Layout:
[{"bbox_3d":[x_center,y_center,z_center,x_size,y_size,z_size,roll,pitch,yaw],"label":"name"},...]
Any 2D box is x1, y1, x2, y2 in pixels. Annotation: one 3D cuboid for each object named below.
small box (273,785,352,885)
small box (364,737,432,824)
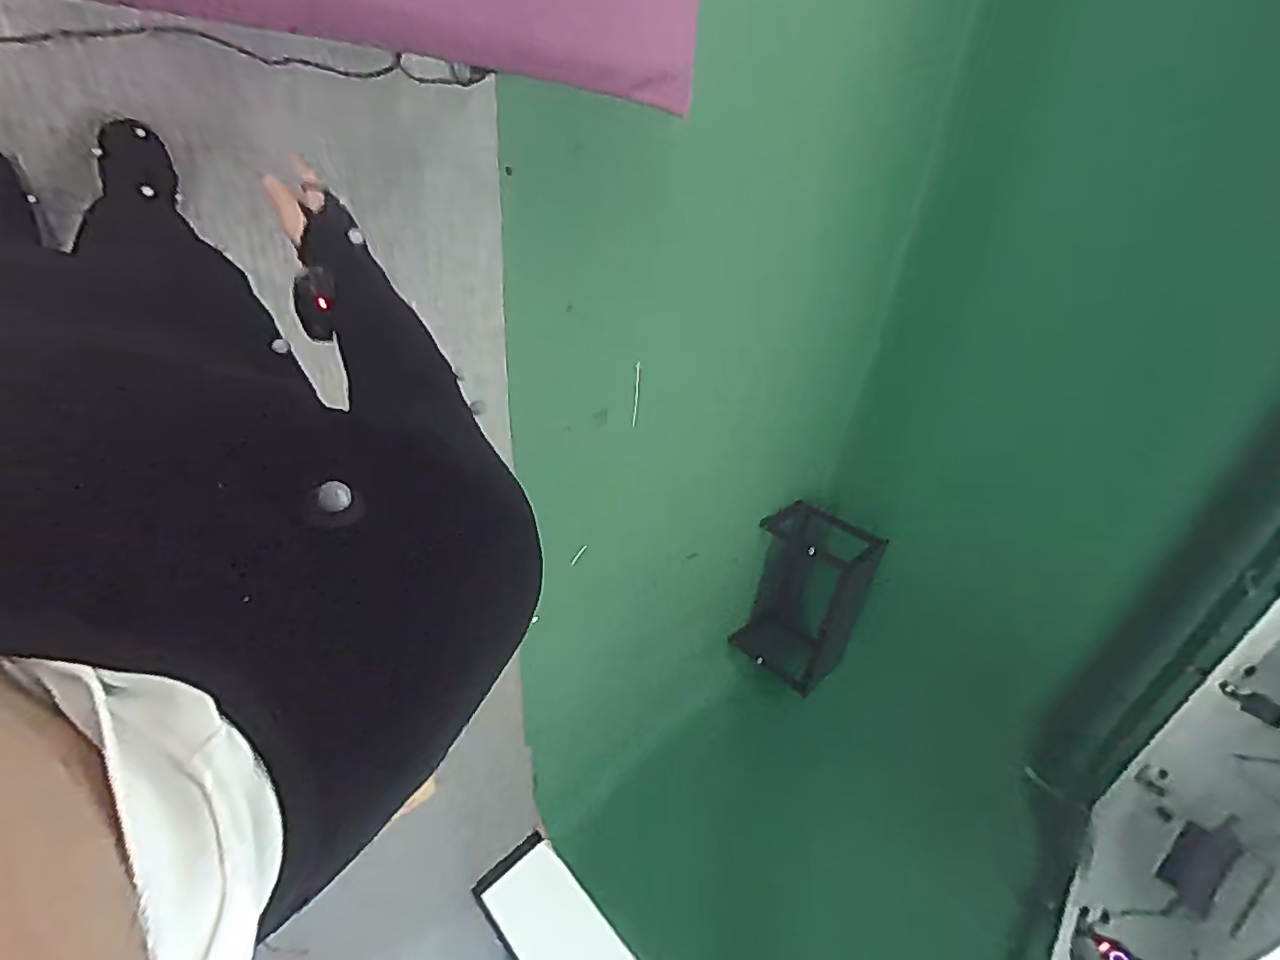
[{"bbox_3d":[-1.062,1.143,1.756,0.168,0.176,0.179,-21,128,-42],"label":"small box"},{"bbox_3d":[-0.867,1.069,1.938,0.168,0.176,0.179,-20,128,-42],"label":"small box"}]
